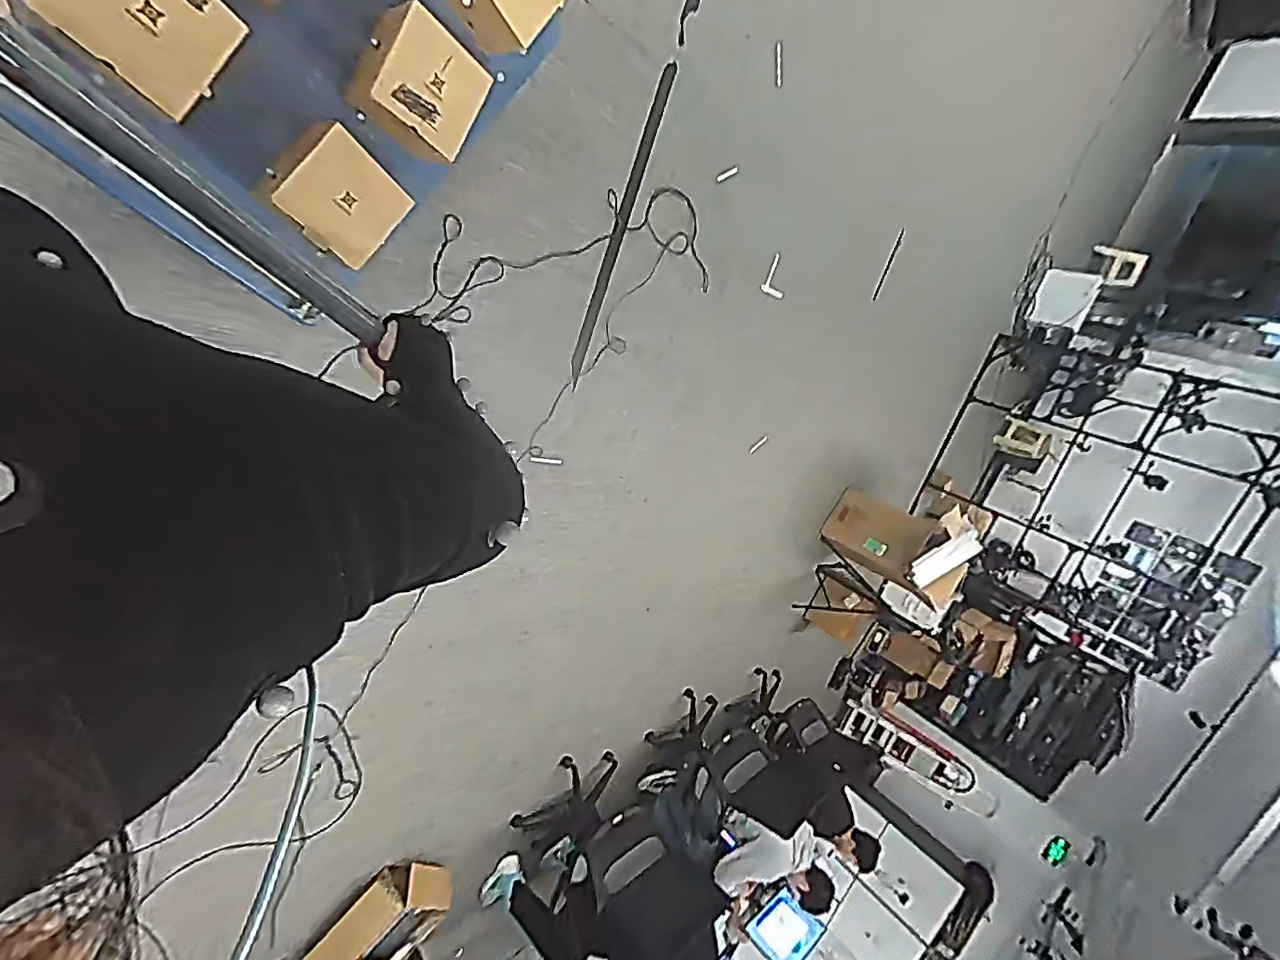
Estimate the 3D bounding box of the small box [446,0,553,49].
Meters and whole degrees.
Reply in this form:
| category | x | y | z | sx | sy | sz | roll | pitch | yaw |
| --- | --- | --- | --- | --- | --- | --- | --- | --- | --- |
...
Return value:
| category | x | y | z | sx | sy | sz | roll | pitch | yaw |
| --- | --- | --- | --- | --- | --- | --- | --- | --- | --- |
| small box | -0.275 | -0.963 | 1.024 | 0.179 | 0.176 | 0.168 | -56 | 140 | -3 |

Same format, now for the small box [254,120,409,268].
| category | x | y | z | sx | sy | sz | roll | pitch | yaw |
| --- | --- | --- | --- | --- | --- | --- | --- | --- | --- |
| small box | -0.573 | -0.525 | 0.997 | 0.179 | 0.176 | 0.168 | -54 | 141 | -6 |

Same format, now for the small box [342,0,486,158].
| category | x | y | z | sx | sy | sz | roll | pitch | yaw |
| --- | --- | --- | --- | --- | --- | --- | --- | --- | --- |
| small box | -0.427 | -0.737 | 1.010 | 0.168 | 0.176 | 0.179 | 24 | 95 | -50 |

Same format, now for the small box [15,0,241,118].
| category | x | y | z | sx | sy | sz | roll | pitch | yaw |
| --- | --- | --- | --- | --- | --- | --- | --- | --- | --- |
| small box | -0.715 | -0.651 | 0.767 | 0.179 | 0.176 | 0.168 | -55 | 141 | -3 |
